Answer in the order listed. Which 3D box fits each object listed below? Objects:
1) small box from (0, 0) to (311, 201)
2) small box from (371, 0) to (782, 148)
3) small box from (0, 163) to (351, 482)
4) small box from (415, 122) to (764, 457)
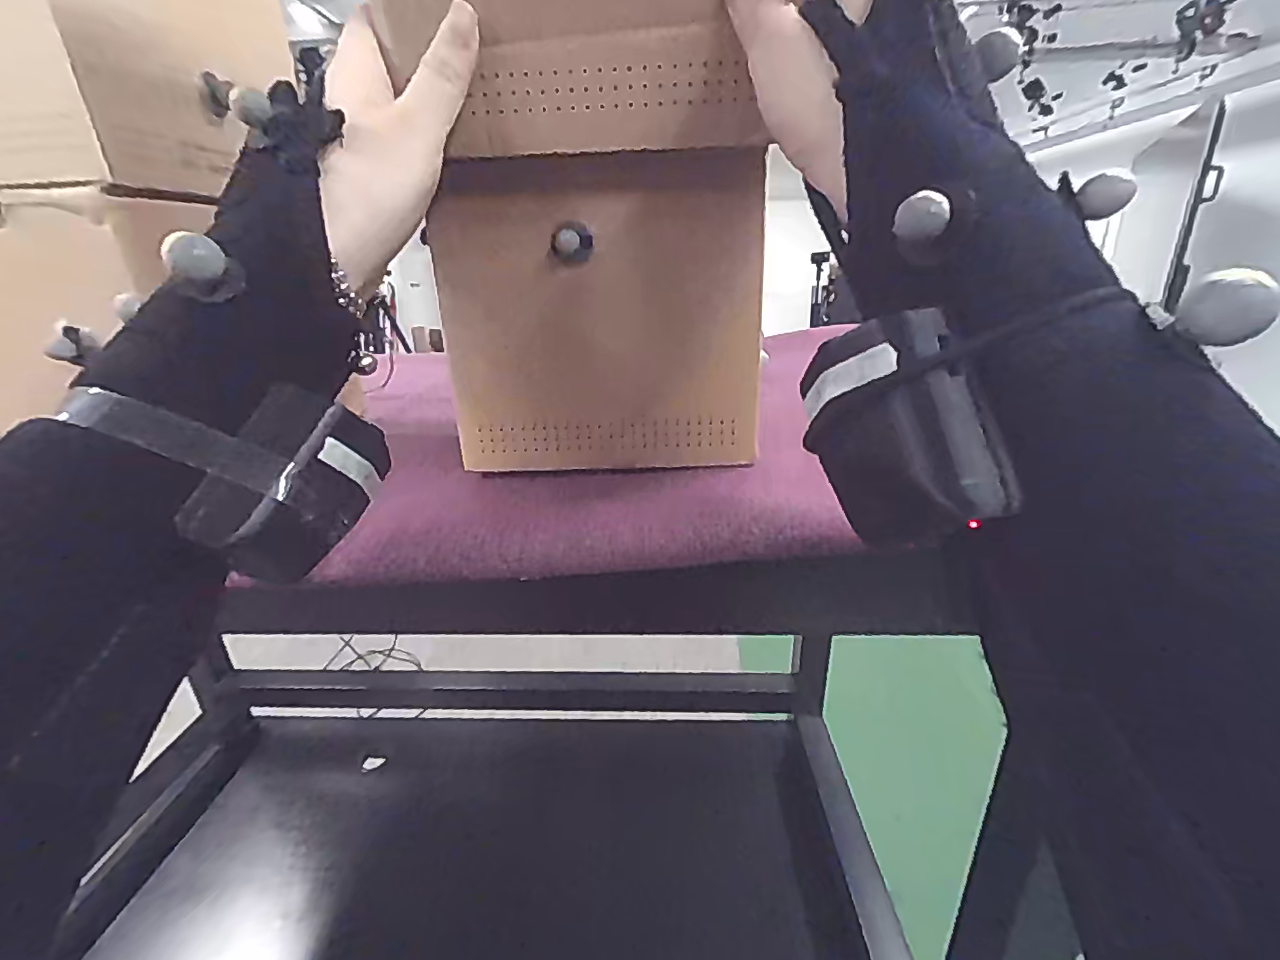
[{"bbox_3d":[-0.336,-0.257,0.310,0.179,0.176,0.168,1,23,5],"label":"small box"},{"bbox_3d":[-0.025,-0.263,0.266,0.179,0.176,0.168,0,31,4],"label":"small box"},{"bbox_3d":[-0.330,-0.103,0.371,0.168,0.176,0.179,1,21,4],"label":"small box"},{"bbox_3d":[-0.018,-0.115,0.360,0.179,0.176,0.168,-1,20,3],"label":"small box"}]
